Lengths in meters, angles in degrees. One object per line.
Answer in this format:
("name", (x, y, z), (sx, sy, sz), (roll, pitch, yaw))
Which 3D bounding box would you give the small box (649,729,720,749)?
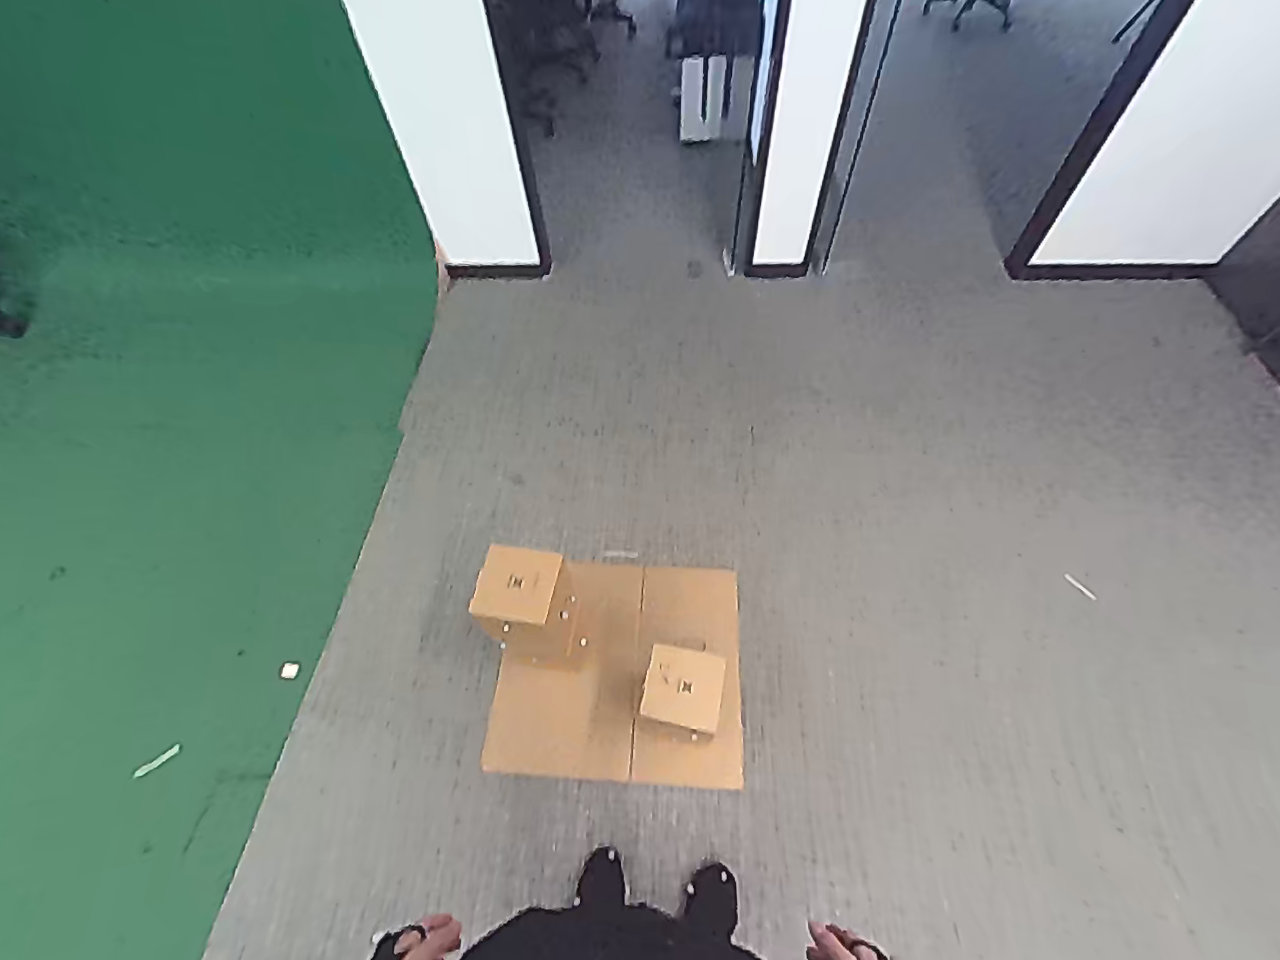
("small box", (0.124, 0.599, 1.423), (0.179, 0.176, 0.168), (6, 57, 8))

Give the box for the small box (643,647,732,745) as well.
("small box", (0.114, 0.515, 1.281), (0.179, 0.176, 0.168), (9, 57, 11))

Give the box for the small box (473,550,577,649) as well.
("small box", (-0.259, 0.283, 1.261), (0.179, 0.176, 0.168), (7, 58, 8))
